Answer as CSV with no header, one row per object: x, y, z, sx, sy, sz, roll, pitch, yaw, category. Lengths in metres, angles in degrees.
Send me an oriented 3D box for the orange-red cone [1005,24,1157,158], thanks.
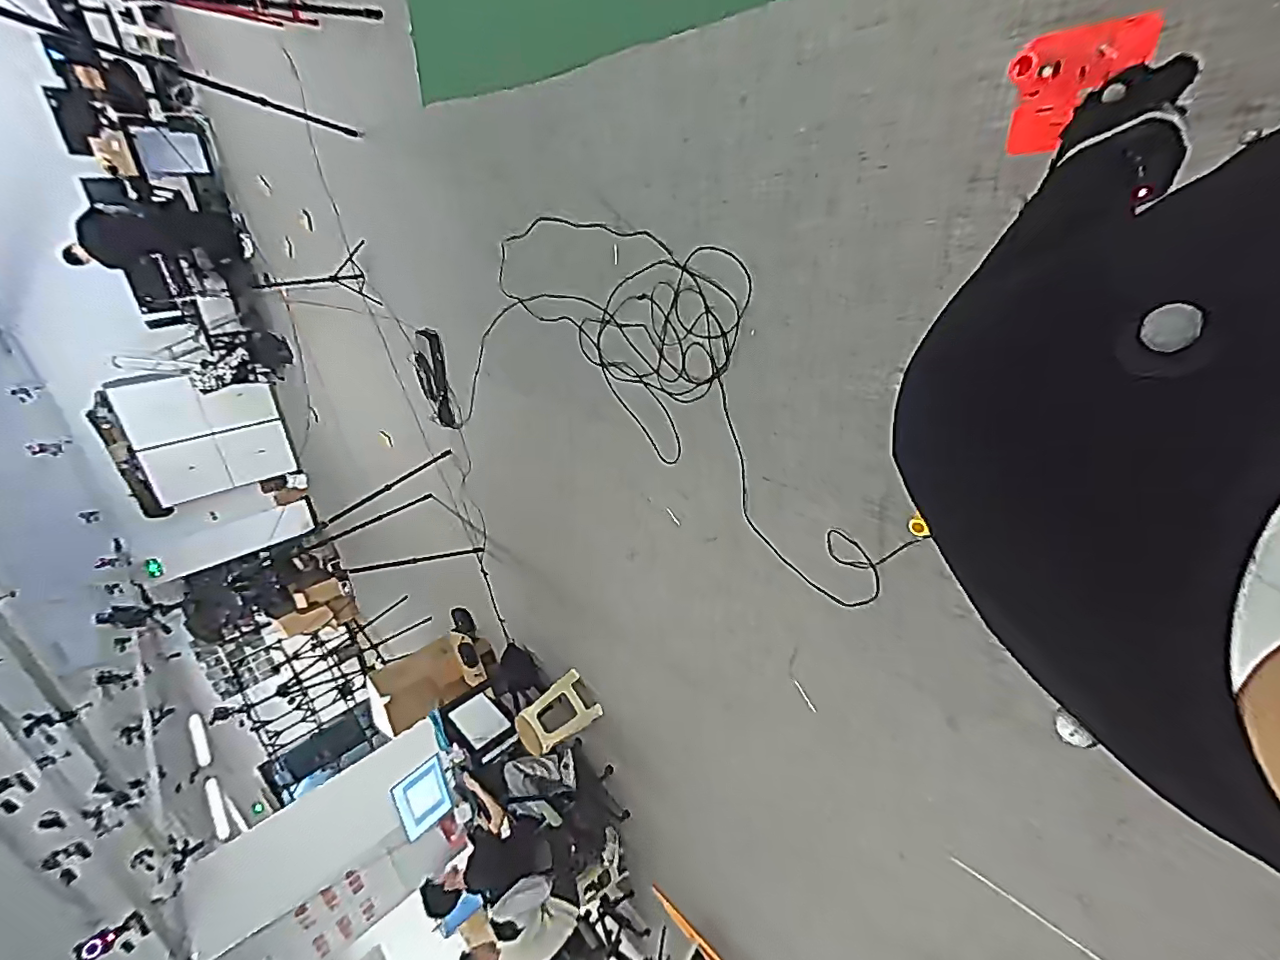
0.714,-0.682,0.938,0.198,0.360,0.199,25,128,42,orange-red cone

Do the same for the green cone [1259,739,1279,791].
1.291,0.653,0.979,0.202,0.368,0.200,23,125,43,green cone
